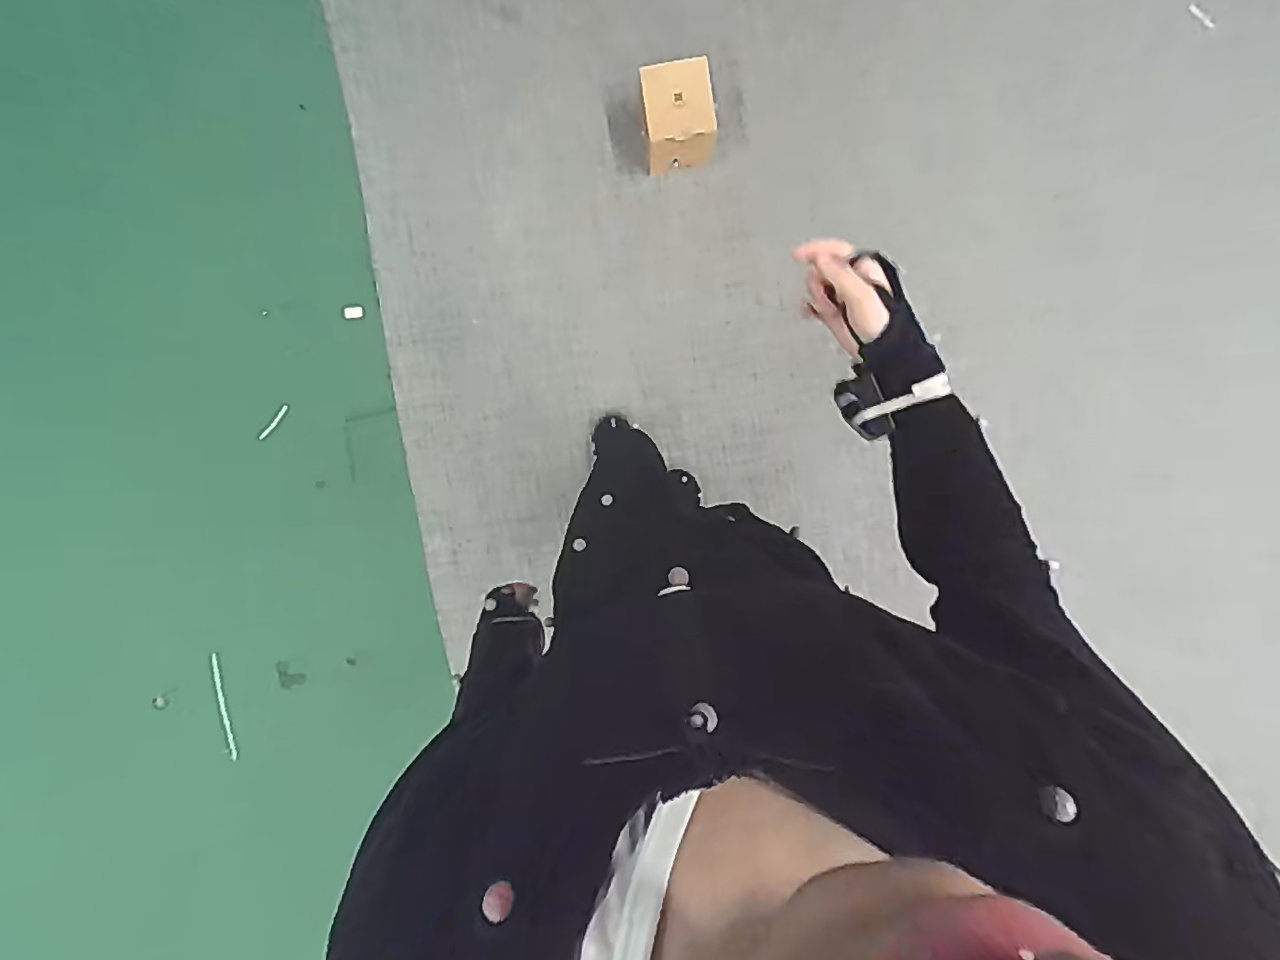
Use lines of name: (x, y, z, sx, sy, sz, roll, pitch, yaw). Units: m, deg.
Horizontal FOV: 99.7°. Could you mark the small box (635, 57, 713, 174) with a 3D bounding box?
small box: (0.081, -0.914, 1.368, 0.168, 0.176, 0.179, -9, 94, 0)
